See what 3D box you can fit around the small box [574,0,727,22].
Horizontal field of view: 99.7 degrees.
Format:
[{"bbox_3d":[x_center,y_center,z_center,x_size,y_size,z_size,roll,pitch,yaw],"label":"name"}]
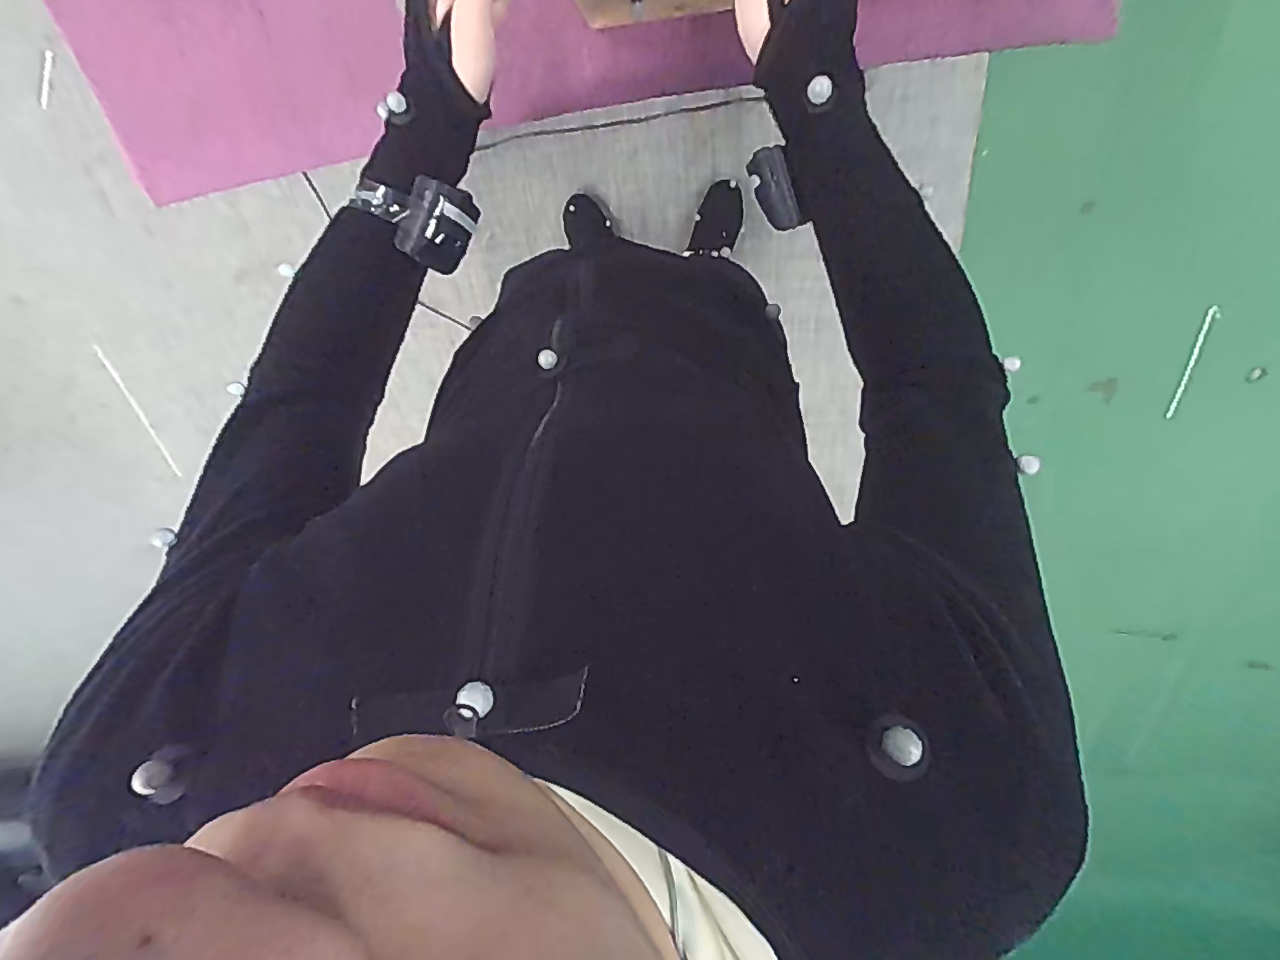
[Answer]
[{"bbox_3d":[0.007,-0.565,0.511,0.168,0.176,0.179,-3,119,6],"label":"small box"}]
